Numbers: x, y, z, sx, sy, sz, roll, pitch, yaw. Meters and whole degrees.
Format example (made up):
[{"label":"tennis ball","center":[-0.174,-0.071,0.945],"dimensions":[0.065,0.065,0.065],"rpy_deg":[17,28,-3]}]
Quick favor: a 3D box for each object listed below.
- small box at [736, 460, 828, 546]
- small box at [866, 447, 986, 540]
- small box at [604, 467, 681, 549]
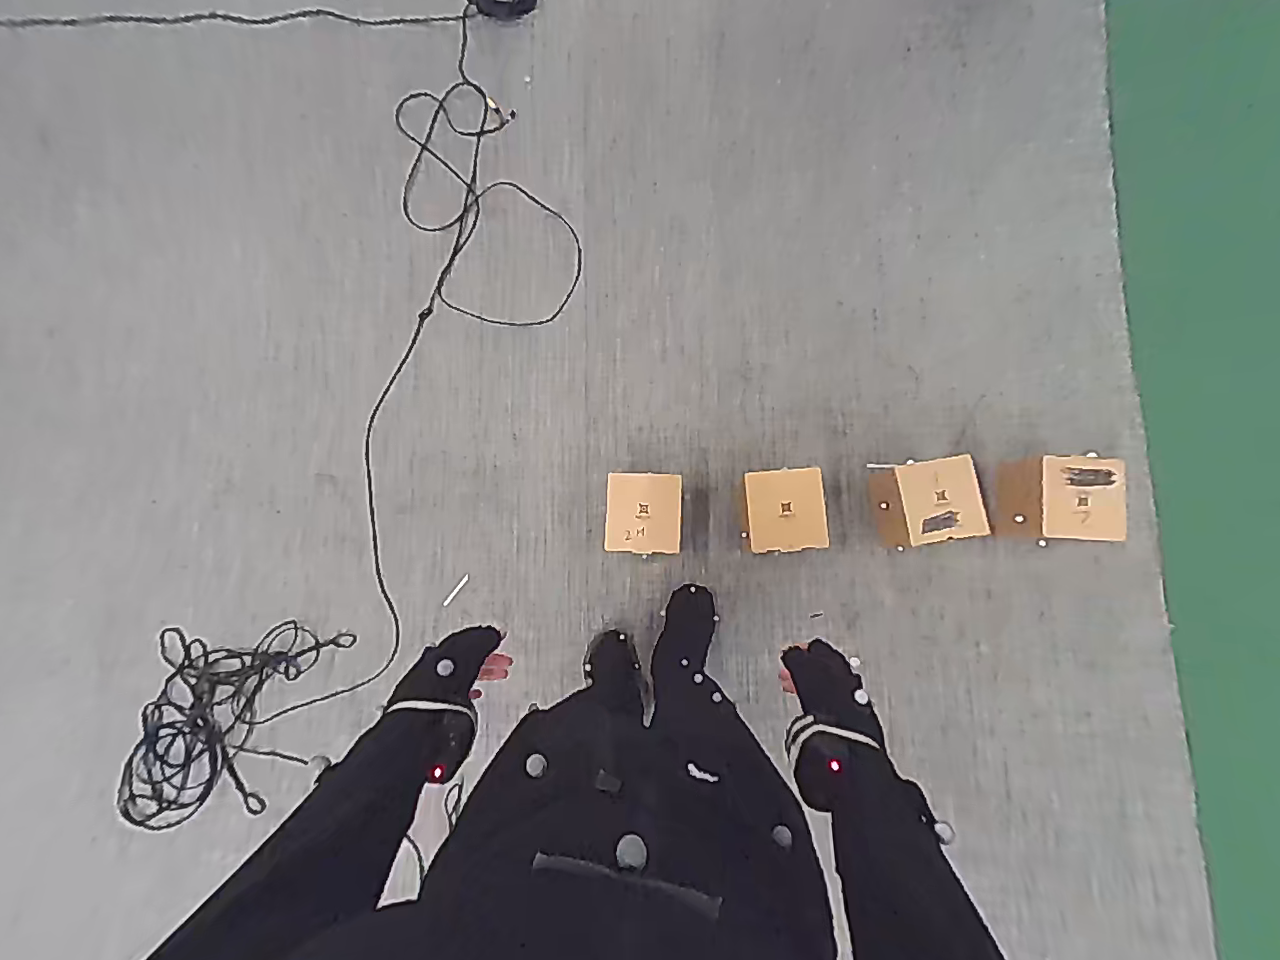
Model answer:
[{"label":"small box","center":[0.316,0.059,1.236],"dimensions":[0.168,0.176,0.179],"rpy_deg":[-6,84,4]},{"label":"small box","center":[0.632,0.036,1.216],"dimensions":[0.168,0.176,0.179],"rpy_deg":[-10,82,2]},{"label":"small box","center":[0.011,0.069,1.257],"dimensions":[0.168,0.176,0.179],"rpy_deg":[1,84,5]}]
